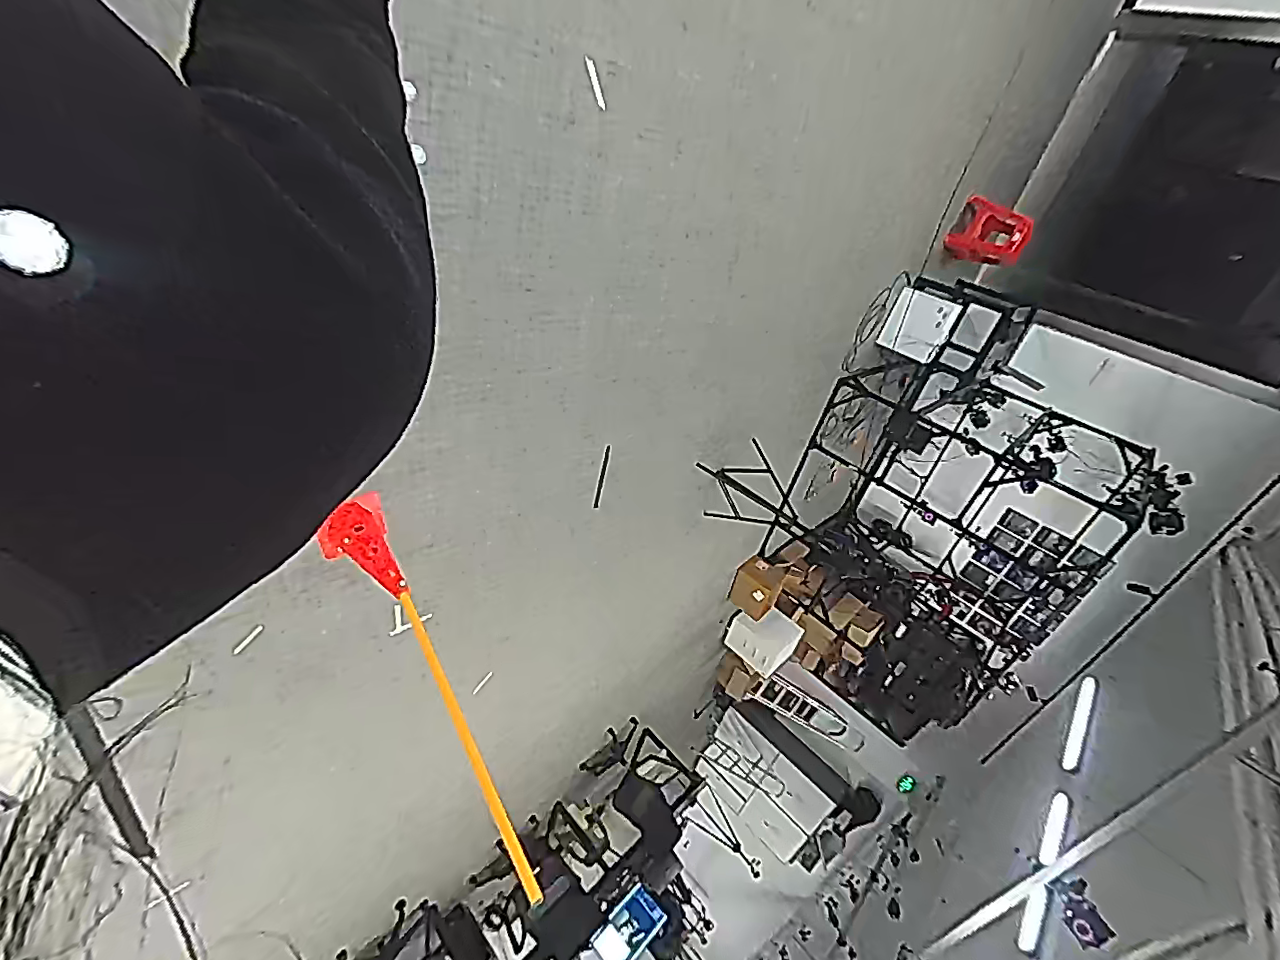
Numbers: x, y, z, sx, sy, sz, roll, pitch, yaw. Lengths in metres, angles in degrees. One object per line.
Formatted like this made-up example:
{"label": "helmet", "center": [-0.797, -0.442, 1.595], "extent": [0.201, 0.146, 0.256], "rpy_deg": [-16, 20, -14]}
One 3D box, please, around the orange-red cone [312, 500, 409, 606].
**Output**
{"label": "orange-red cone", "center": [-0.796, 0.252, 1.624], "extent": [0.199, 0.360, 0.198], "rpy_deg": [-28, 142, -38]}
